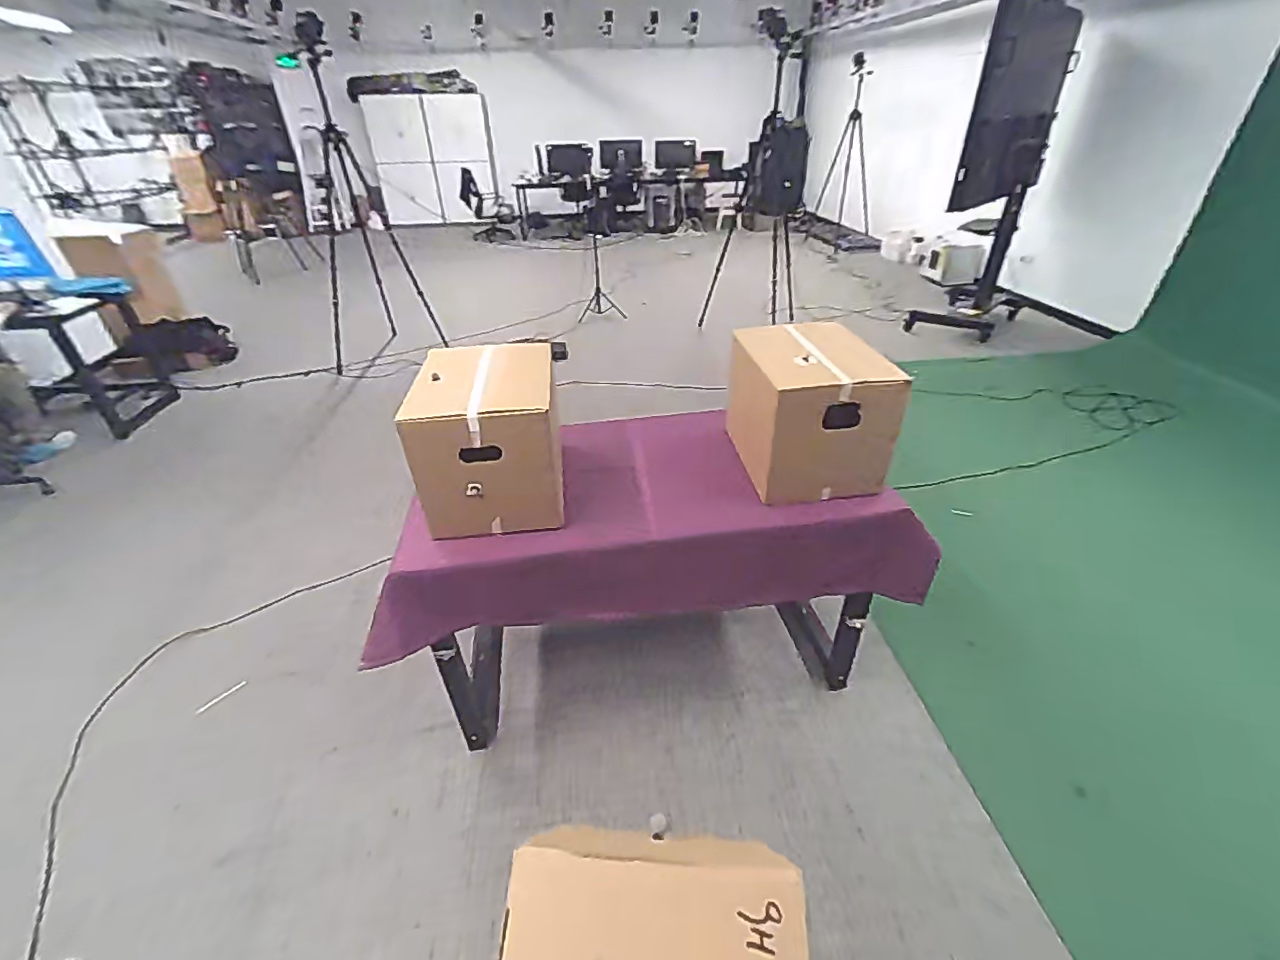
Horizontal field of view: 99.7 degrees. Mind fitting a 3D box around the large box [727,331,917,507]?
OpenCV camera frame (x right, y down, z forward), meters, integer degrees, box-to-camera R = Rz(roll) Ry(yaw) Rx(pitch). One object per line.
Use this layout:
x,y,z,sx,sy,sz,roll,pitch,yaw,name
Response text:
0.440,-0.176,1.428,0.320,0.320,0.408,-4,35,-5,large box
